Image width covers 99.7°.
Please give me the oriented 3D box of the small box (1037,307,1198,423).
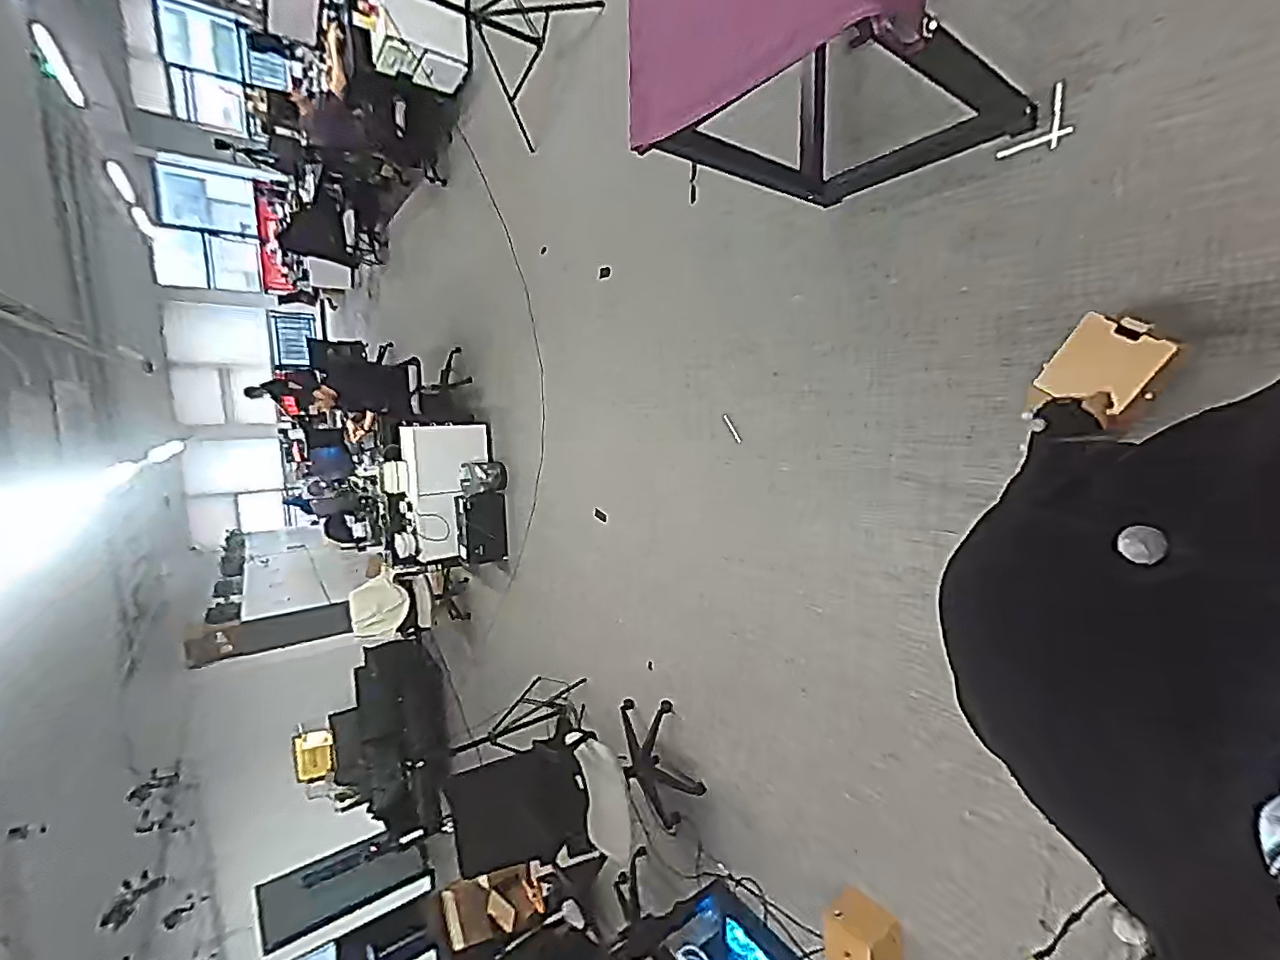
[{"bbox_3d":[0.985,-0.235,1.115,0.168,0.176,0.179,50,133,38],"label":"small box"}]
